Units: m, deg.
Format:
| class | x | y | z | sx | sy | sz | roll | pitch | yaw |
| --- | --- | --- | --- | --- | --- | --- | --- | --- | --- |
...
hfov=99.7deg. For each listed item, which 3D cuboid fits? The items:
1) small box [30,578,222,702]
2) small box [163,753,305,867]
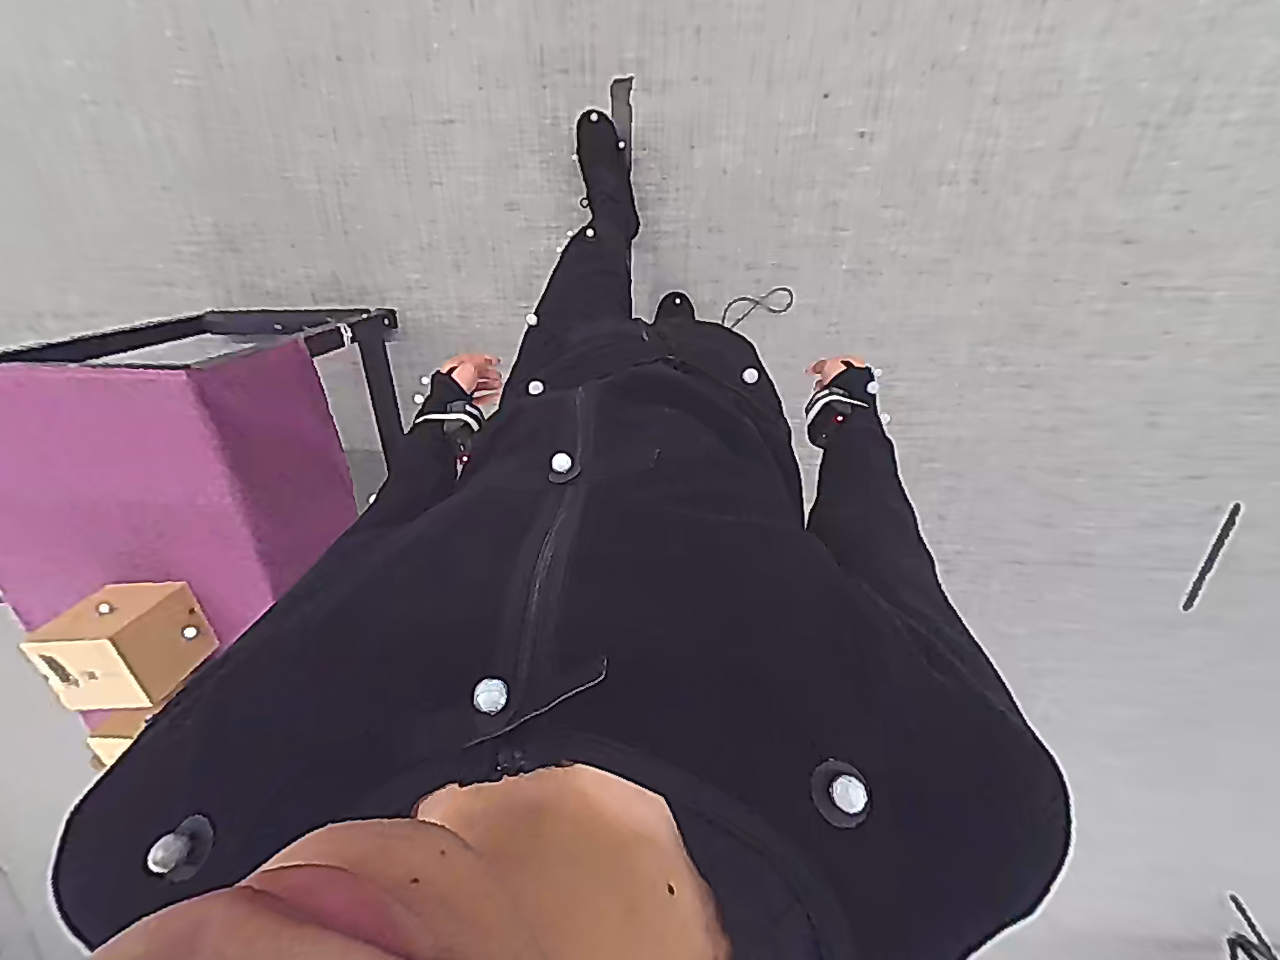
| class | x | y | z | sx | sy | sz | roll | pitch | yaw |
| --- | --- | --- | --- | --- | --- | --- | --- | --- | --- |
| small box | -0.977 | 0.305 | 1.047 | 0.179 | 0.176 | 0.168 | -4 | 116 | 6 |
| small box | -0.942 | 0.769 | 1.271 | 0.179 | 0.176 | 0.168 | -2 | 116 | 6 |
